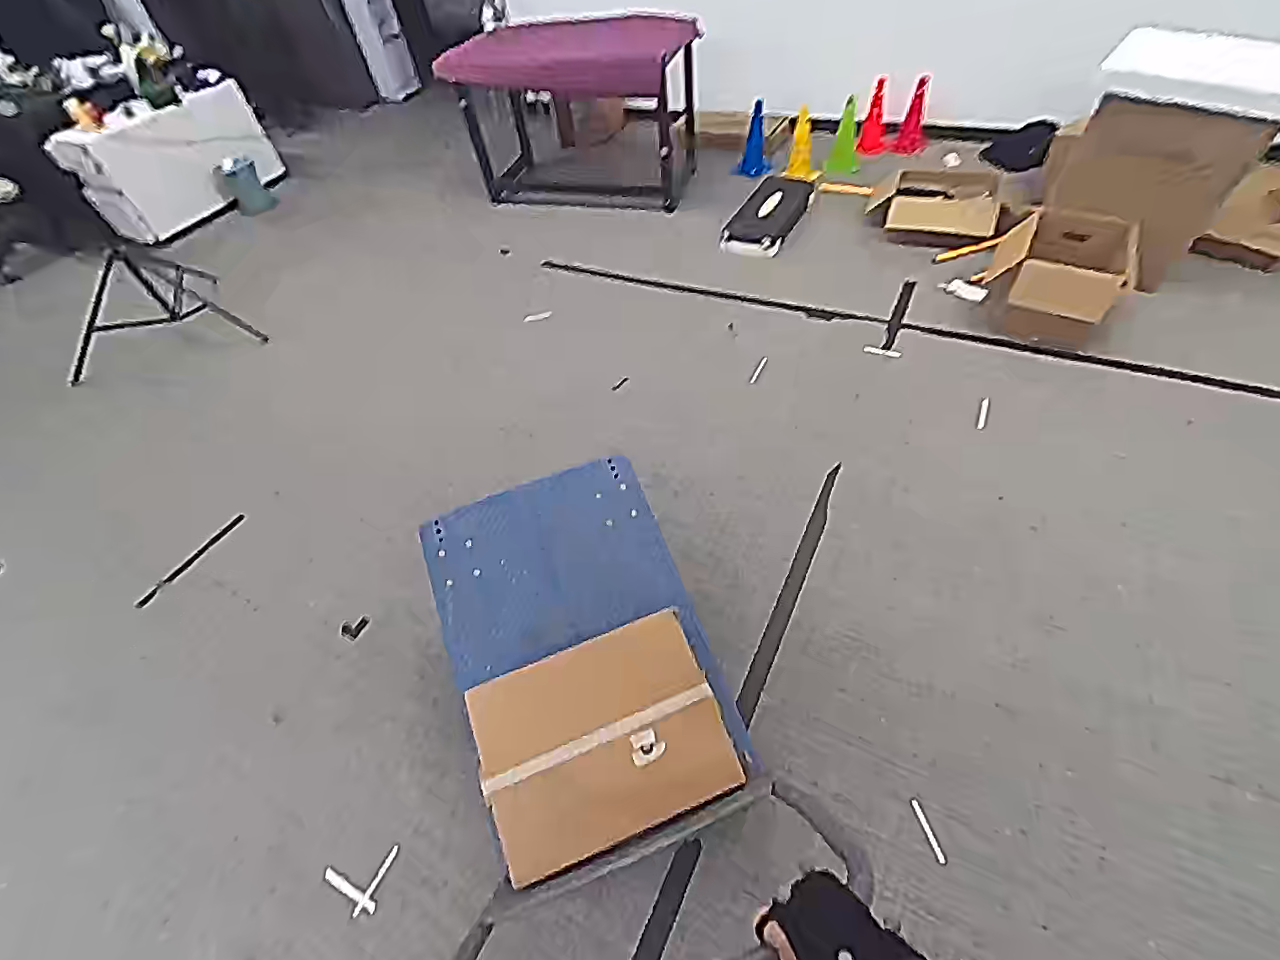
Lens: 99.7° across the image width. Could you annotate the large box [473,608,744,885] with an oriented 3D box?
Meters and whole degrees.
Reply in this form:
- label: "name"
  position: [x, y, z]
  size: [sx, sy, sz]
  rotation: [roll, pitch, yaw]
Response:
- label: "large box"
  position: [-0.062, 0.506, 1.074]
  size: [0.408, 0.320, 0.320]
  rotation: [-21, 68, -10]
